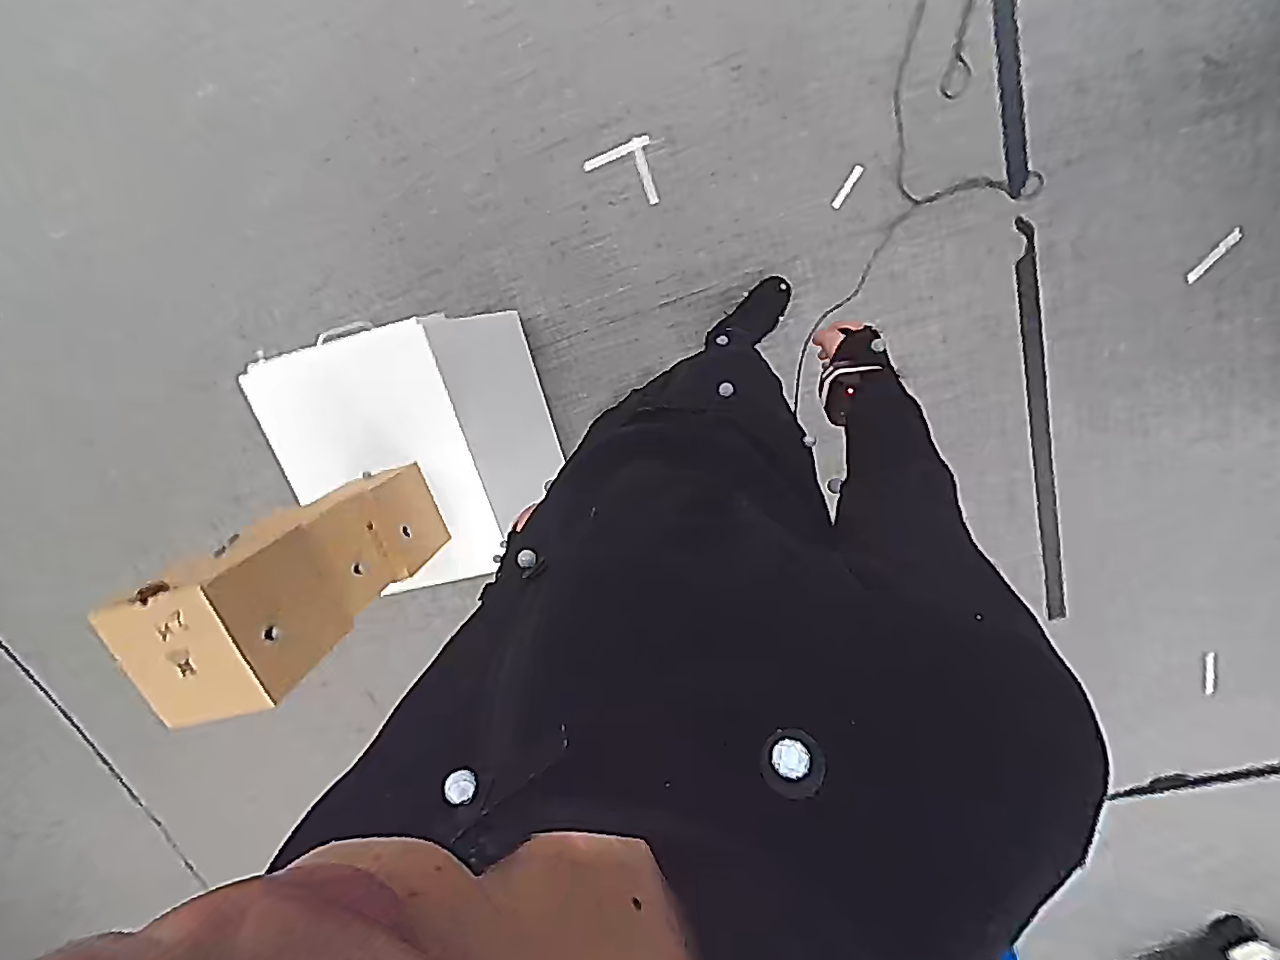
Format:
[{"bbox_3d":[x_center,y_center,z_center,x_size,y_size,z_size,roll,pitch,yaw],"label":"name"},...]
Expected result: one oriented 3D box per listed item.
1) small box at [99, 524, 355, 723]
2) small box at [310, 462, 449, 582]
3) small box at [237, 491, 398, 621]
[{"bbox_3d":[-0.521,0.182,0.714,0.168,0.176,0.179,-15,108,10],"label":"small box"},{"bbox_3d":[-0.493,0.085,1.026,0.168,0.176,0.179,-15,107,10],"label":"small box"},{"bbox_3d":[-0.523,0.132,0.873,0.179,0.176,0.168,-14,108,11],"label":"small box"}]
